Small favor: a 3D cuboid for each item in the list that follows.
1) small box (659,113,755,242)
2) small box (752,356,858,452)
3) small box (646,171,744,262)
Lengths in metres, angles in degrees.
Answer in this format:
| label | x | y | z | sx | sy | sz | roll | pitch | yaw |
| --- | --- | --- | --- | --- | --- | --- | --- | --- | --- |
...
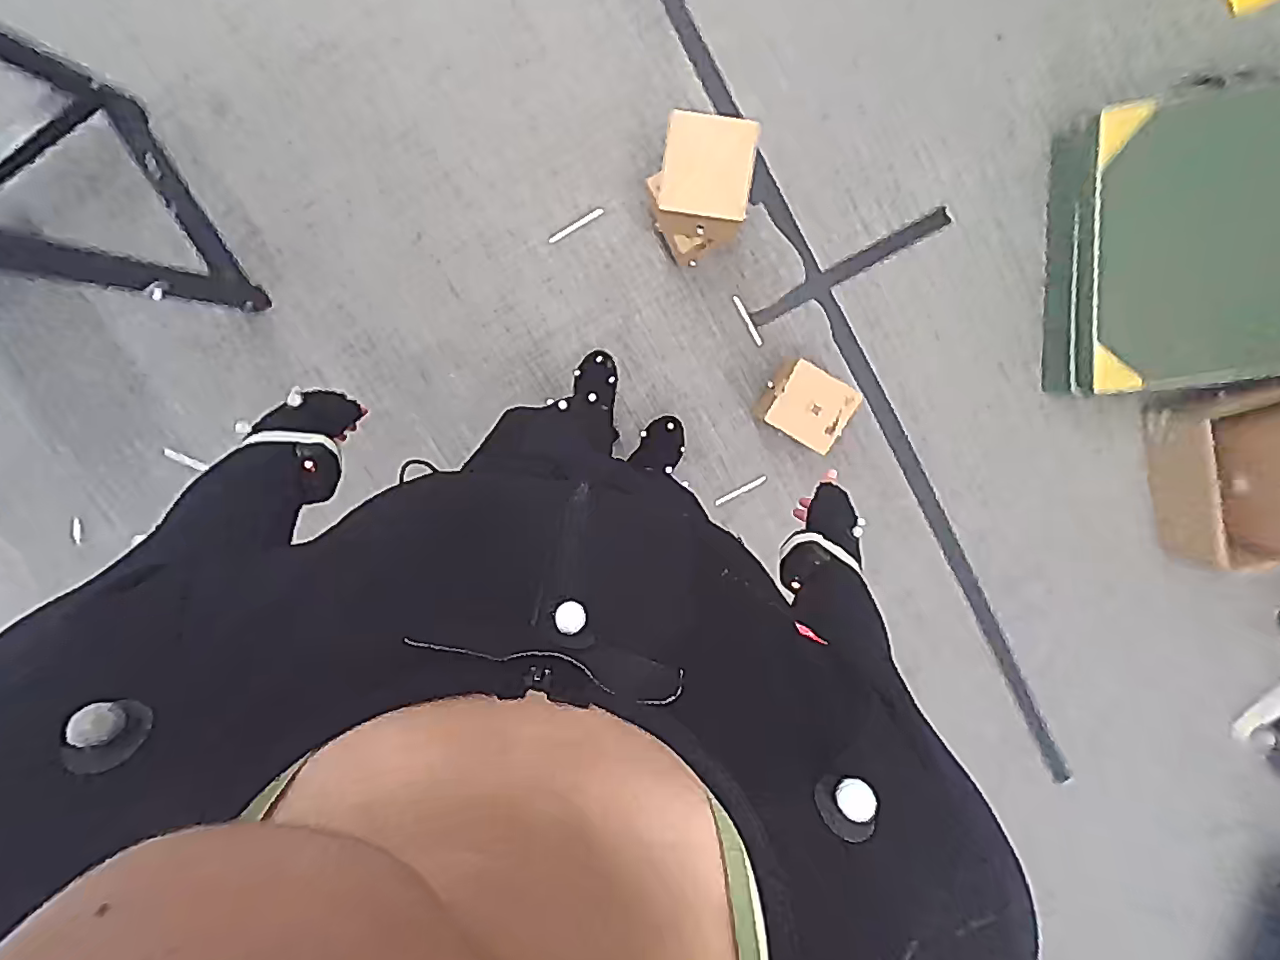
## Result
| label | x | y | z | sx | sy | sz | roll | pitch | yaw |
| --- | --- | --- | --- | --- | --- | --- | --- | --- | --- |
| small box | 0.130 | -0.607 | 1.103 | 0.168 | 0.176 | 0.179 | 8 | 100 | 0 |
| small box | 0.399 | -0.190 | 1.346 | 0.179 | 0.176 | 0.168 | 31 | 102 | -4 |
| small box | 0.126 | -0.633 | 1.269 | 0.168 | 0.176 | 0.179 | -26 | 98 | 6 |
